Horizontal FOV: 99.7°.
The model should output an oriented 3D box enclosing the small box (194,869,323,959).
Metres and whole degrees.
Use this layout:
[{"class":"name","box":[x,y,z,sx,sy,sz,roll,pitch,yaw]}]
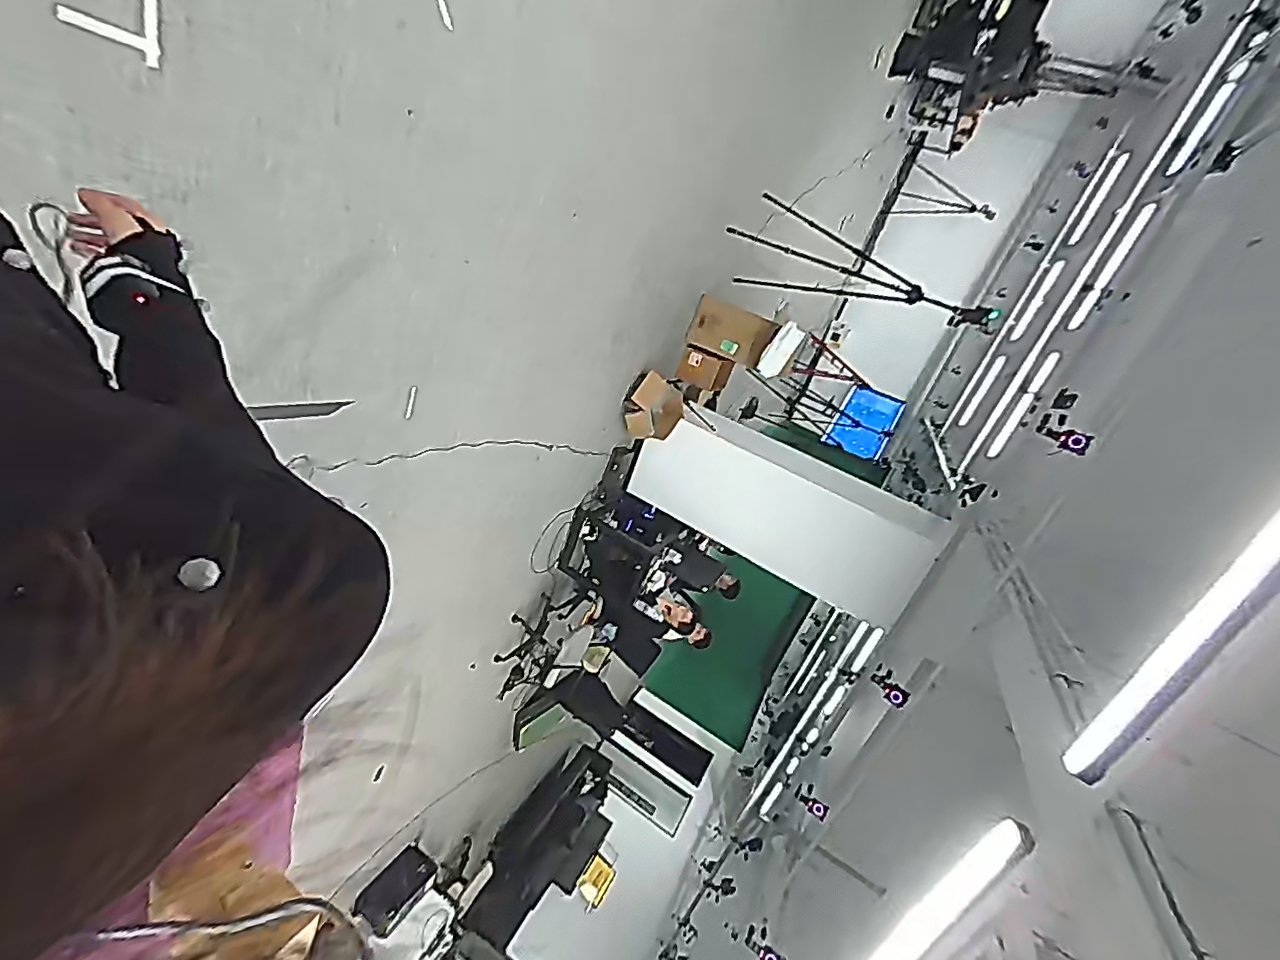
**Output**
[{"class":"small box","box":[-0.877,1.058,1.243,0.179,0.176,0.168,-20,135,-64]}]
